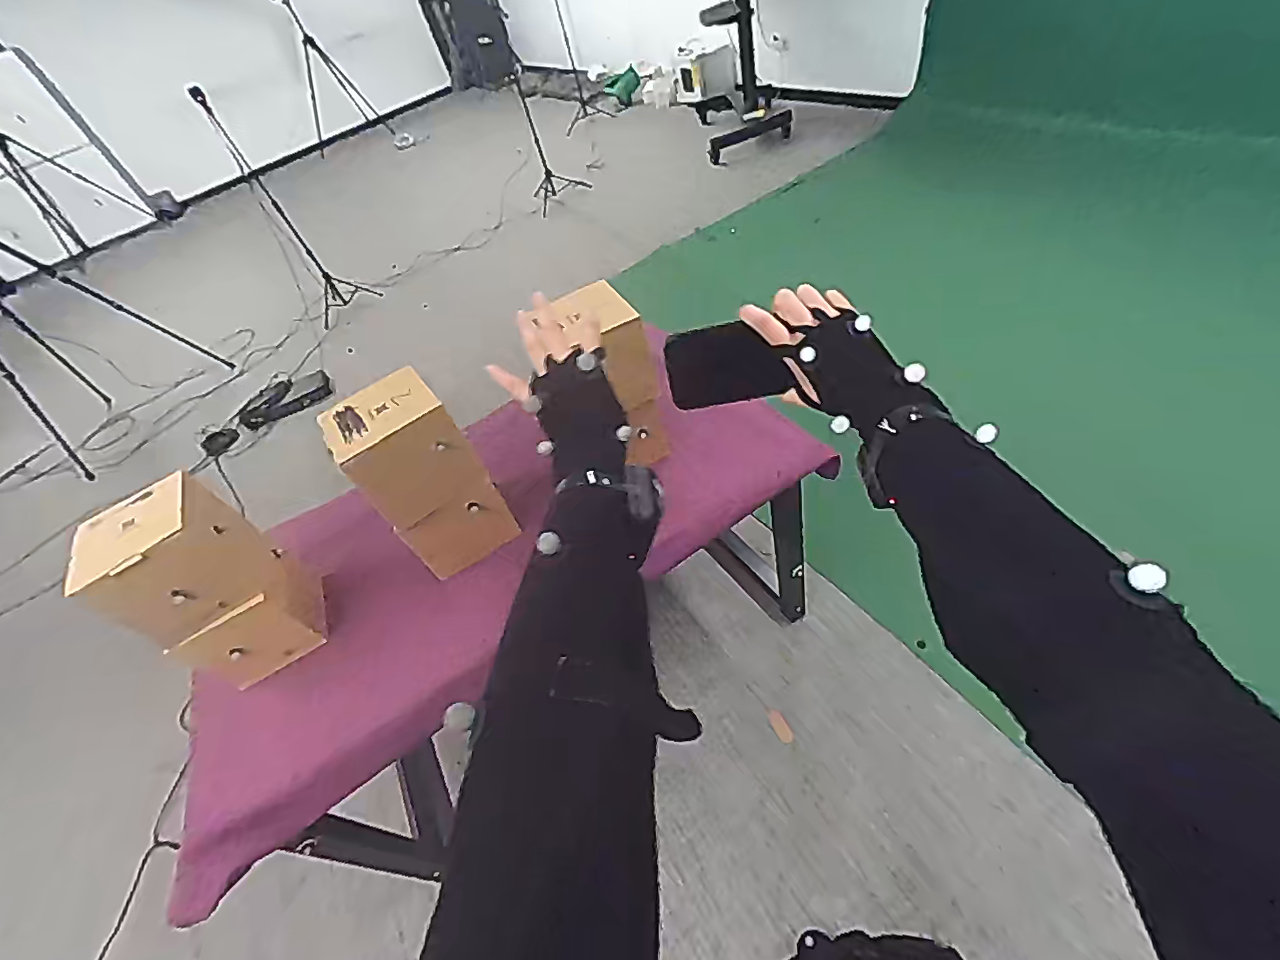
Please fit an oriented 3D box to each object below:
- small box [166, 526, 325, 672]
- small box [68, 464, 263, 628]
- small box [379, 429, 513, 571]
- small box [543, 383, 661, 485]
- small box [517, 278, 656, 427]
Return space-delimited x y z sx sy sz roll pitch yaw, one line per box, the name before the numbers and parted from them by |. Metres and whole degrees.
small box | -0.704 0.225 0.985 0.168 0.176 0.179 -30 48 -10
small box | -0.746 0.114 0.871 0.168 0.176 0.179 -34 49 -14
small box | -0.364 0.040 1.040 0.179 0.176 0.168 -31 48 -10
small box | -0.069 -0.122 1.092 0.179 0.176 0.168 -26 47 -5
small box | -0.092 -0.224 0.965 0.179 0.176 0.168 -26 47 -7
